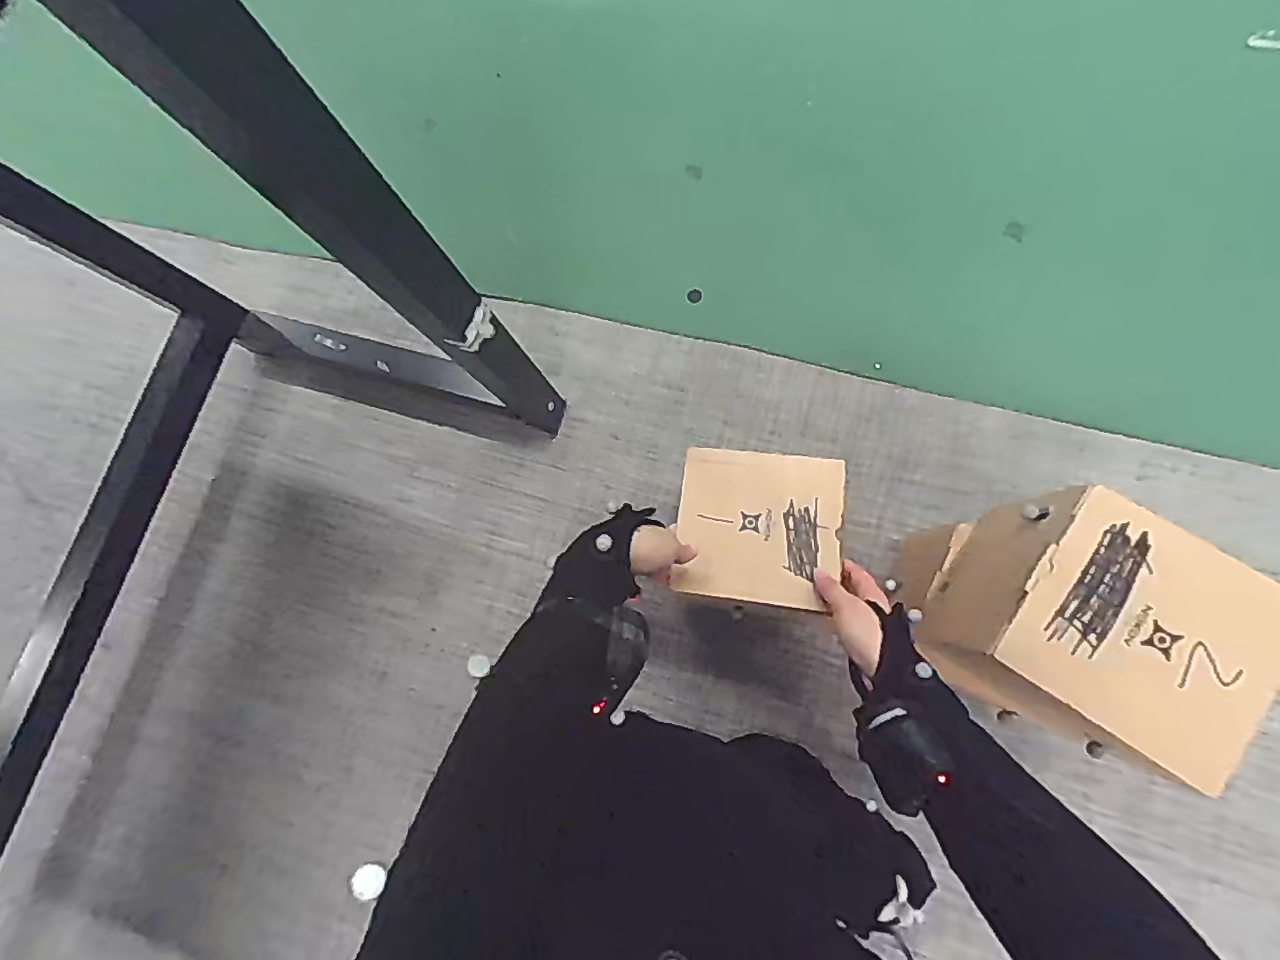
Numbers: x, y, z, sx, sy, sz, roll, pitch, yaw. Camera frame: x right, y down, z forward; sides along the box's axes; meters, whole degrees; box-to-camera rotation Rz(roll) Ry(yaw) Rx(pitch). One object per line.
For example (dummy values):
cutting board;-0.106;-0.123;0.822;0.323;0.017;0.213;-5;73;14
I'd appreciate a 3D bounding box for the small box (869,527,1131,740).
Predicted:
small box;0.406;0.169;0.643;0.179;0.176;0.168;24;83;11

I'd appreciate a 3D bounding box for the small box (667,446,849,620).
small box;0.135;0.072;0.647;0.179;0.176;0.168;7;75;10
